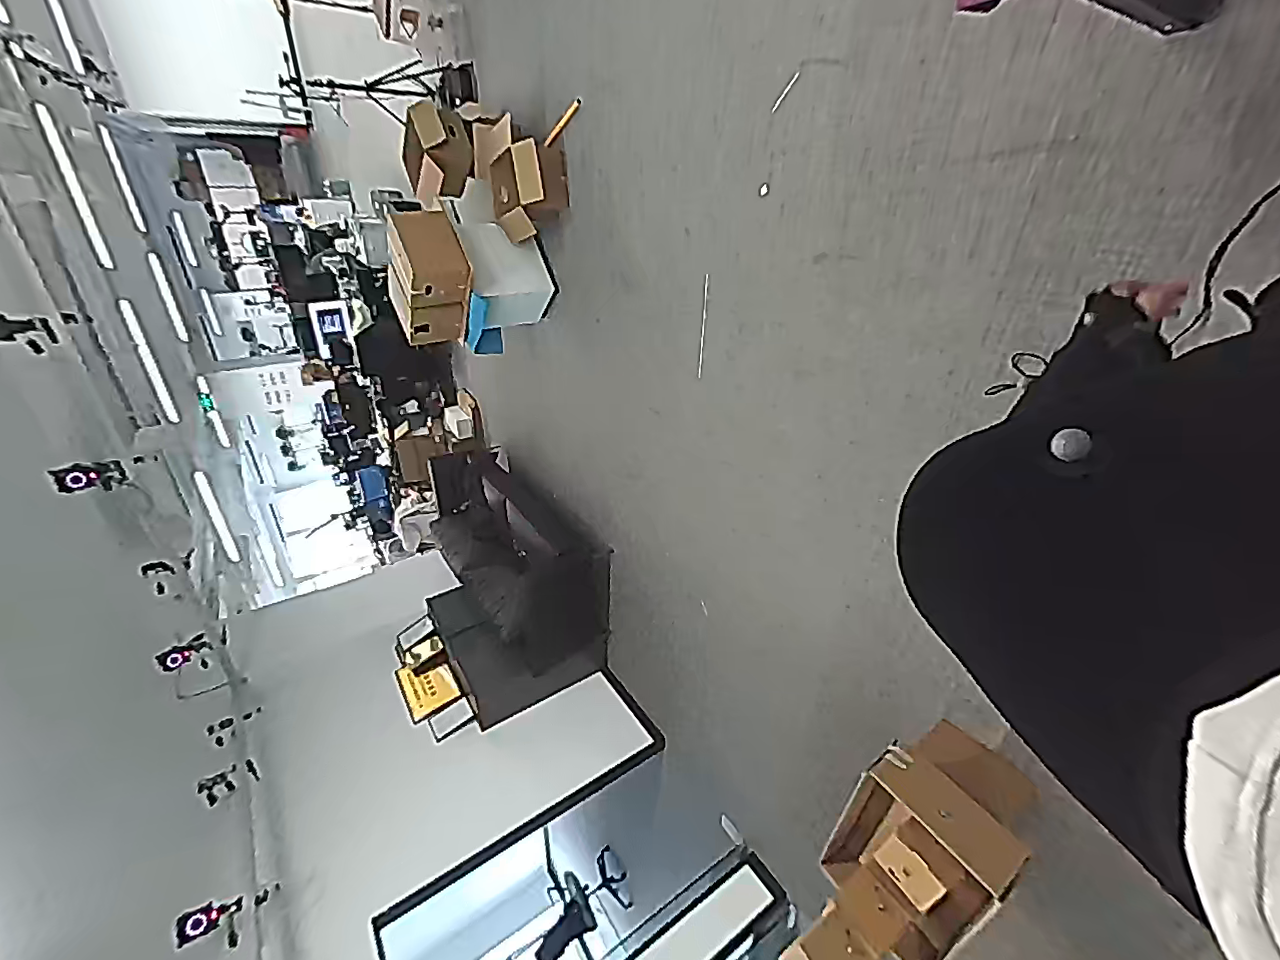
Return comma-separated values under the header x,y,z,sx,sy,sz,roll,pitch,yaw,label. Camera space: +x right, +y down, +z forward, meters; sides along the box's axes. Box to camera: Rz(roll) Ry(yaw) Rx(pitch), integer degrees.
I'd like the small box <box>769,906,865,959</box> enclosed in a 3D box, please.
x,y,z,sx,sy,sz,roll,pitch,yaw,label
0.499,1.348,1.511,0.168,0.176,0.179,48,139,37,small box

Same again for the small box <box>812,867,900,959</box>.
x,y,z,sx,sy,sz,roll,pitch,yaw,label
0.632,1.304,1.597,0.168,0.176,0.179,39,134,44,small box

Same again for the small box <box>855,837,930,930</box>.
x,y,z,sx,sy,sz,roll,pitch,yaw,label
0.765,1.268,1.683,0.168,0.176,0.179,39,134,43,small box
